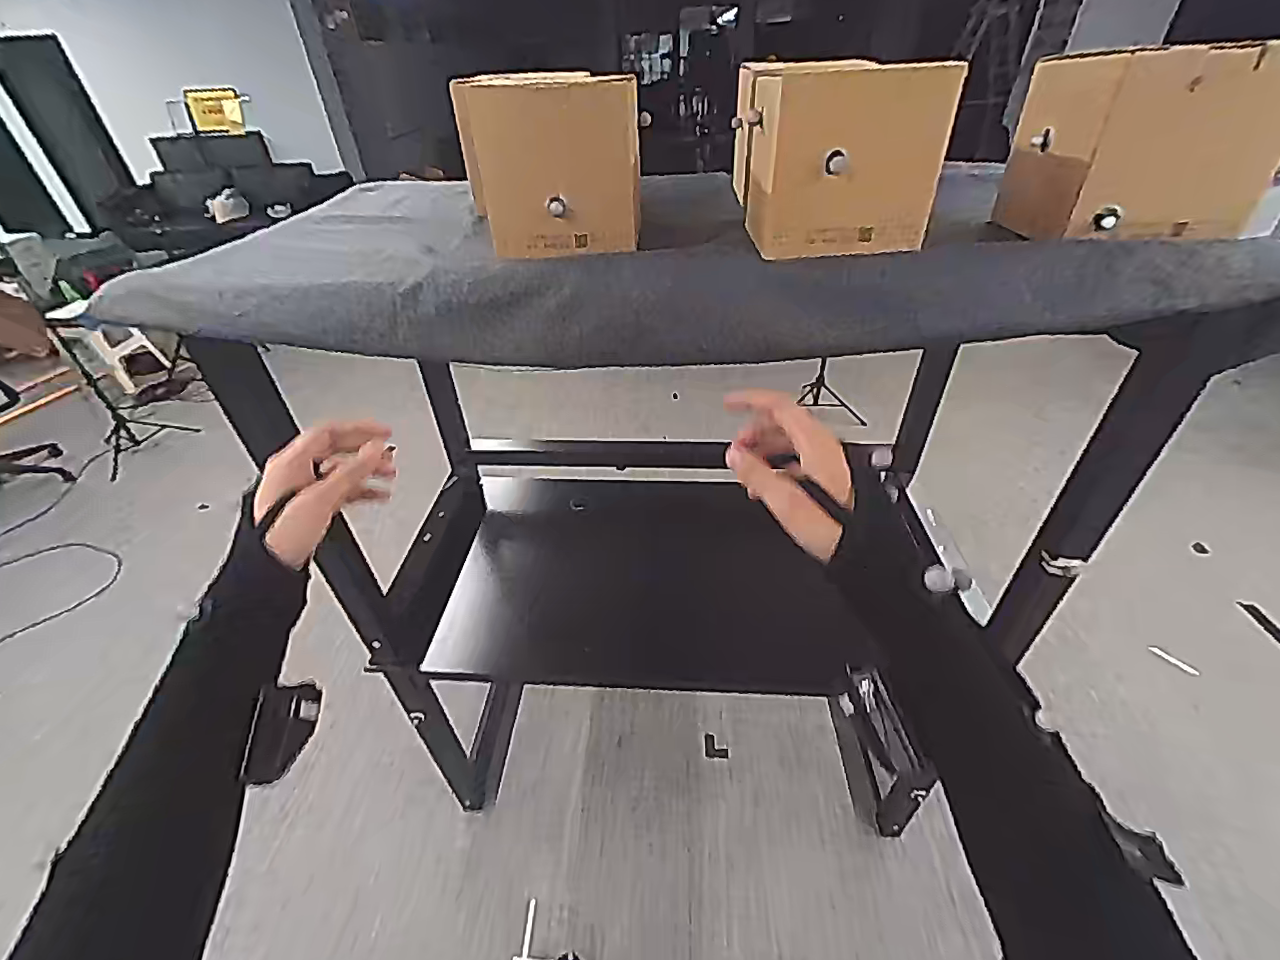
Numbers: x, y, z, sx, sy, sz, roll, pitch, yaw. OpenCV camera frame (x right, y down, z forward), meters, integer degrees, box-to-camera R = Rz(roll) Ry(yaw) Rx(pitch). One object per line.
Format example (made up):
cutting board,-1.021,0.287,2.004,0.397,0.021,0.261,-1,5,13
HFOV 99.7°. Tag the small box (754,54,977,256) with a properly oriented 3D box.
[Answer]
small box,0.221,-0.347,0.586,0.168,0.176,0.179,0,36,3

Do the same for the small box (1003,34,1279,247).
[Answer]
small box,0.521,-0.345,0.560,0.168,0.176,0.179,2,35,6

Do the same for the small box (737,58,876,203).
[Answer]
small box,0.239,-0.517,0.804,0.168,0.176,0.179,0,38,4
